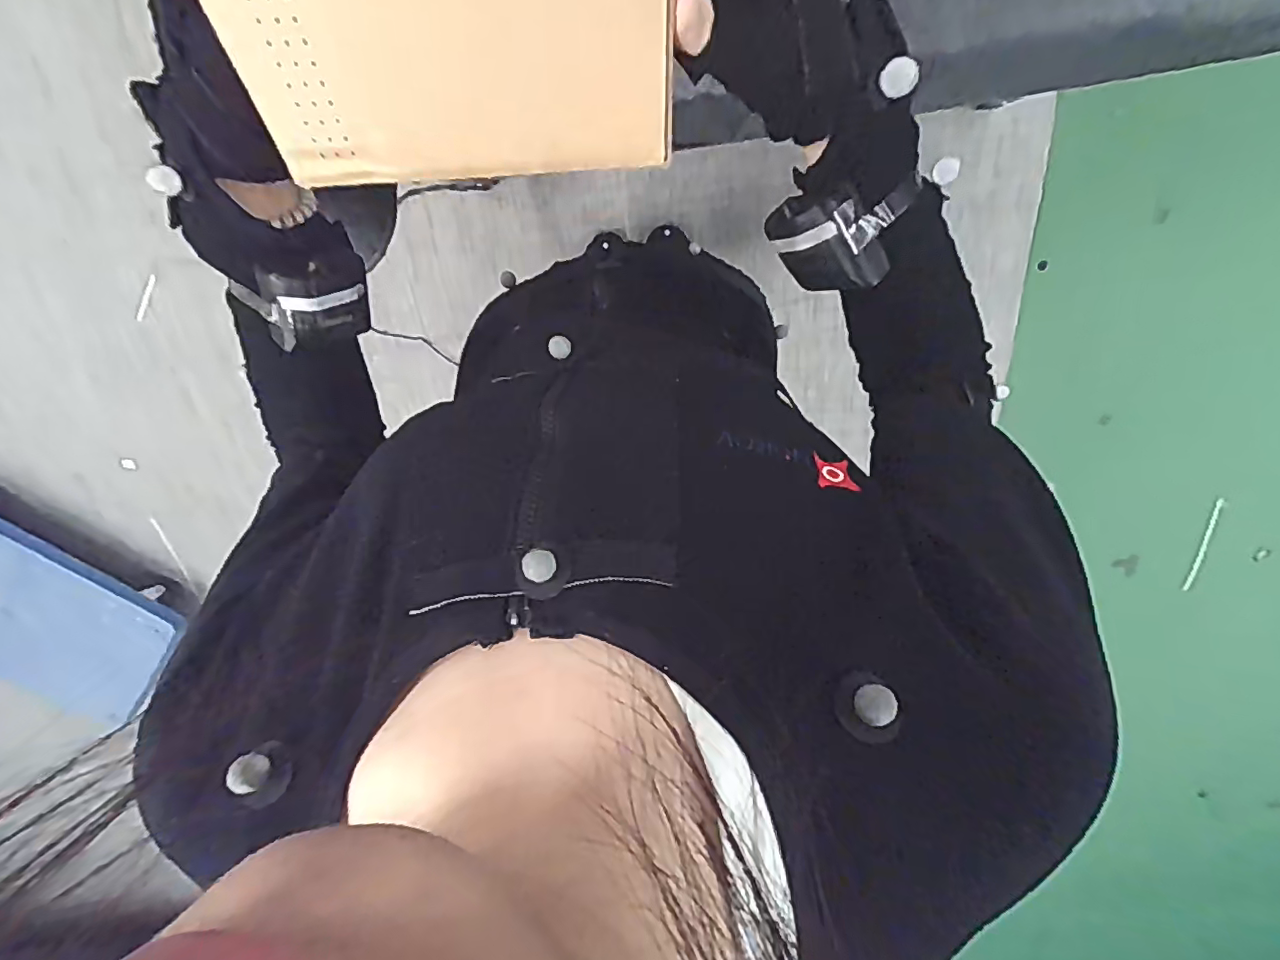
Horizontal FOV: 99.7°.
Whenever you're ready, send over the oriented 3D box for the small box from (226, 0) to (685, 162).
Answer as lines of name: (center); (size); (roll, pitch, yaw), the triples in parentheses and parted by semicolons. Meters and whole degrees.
small box: (-0.074, -0.254, 0.218); (0.176, 0.168, 0.179); (-5, 145, -2)
